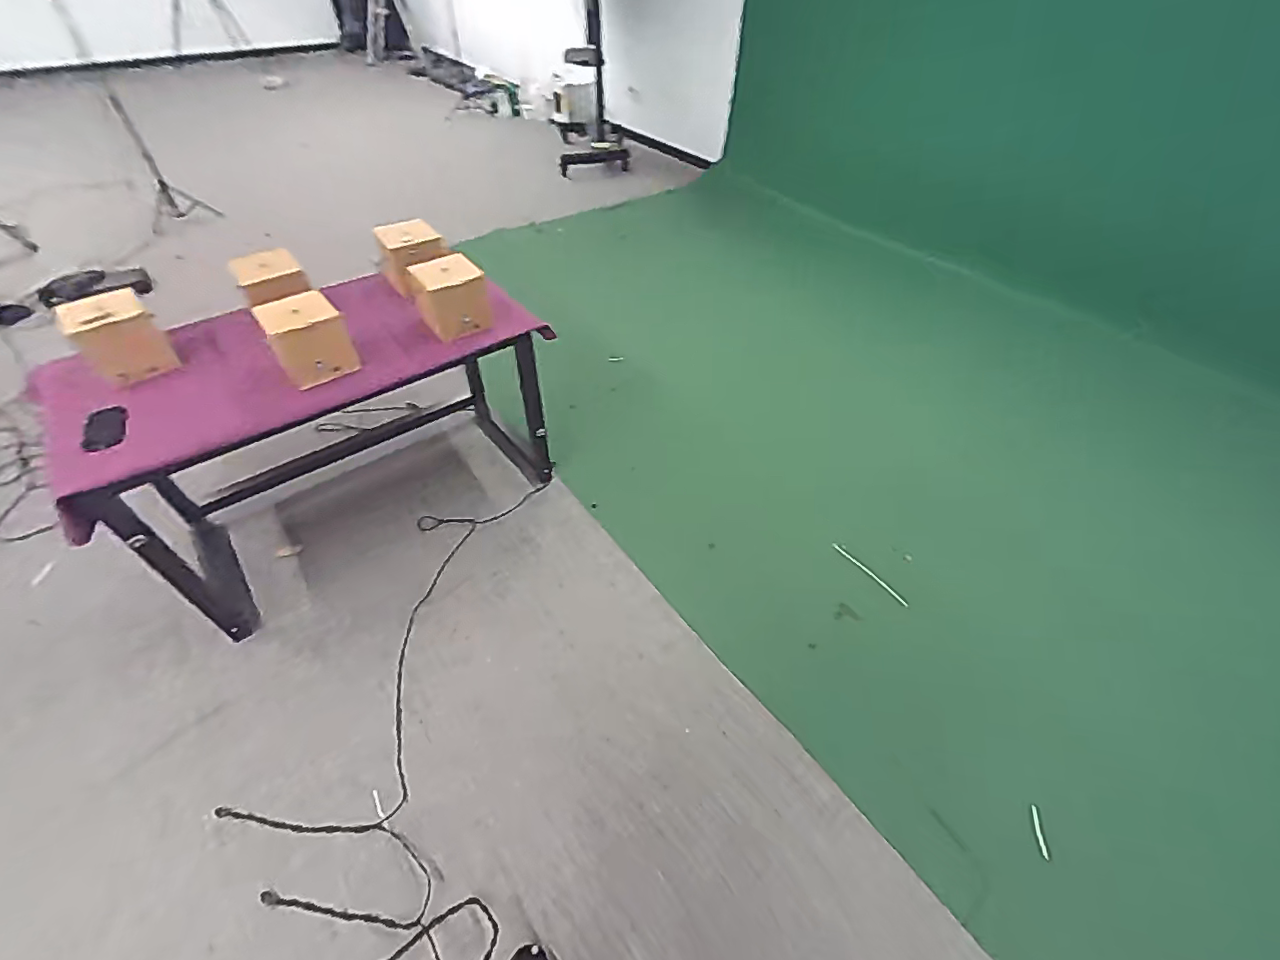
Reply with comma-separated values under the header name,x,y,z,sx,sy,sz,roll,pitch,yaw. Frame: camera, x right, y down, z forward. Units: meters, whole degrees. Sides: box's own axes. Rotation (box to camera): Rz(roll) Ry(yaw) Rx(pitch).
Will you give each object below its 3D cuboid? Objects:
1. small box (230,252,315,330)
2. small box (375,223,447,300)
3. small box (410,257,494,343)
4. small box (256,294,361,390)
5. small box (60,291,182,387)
name,x,y,z,sx,sy,sz,roll,pitch,yaw
small box,-1.079,-0.554,1.619,0.168,0.176,0.179,-30,55,-26
small box,-0.744,-0.721,1.787,0.168,0.176,0.179,-27,53,-24
small box,-0.556,-0.536,1.611,0.168,0.176,0.179,-28,53,-24
small box,-0.883,-0.370,1.450,0.168,0.176,0.179,-31,54,-27
small box,-1.365,-0.368,1.431,0.168,0.176,0.179,-32,54,-29
